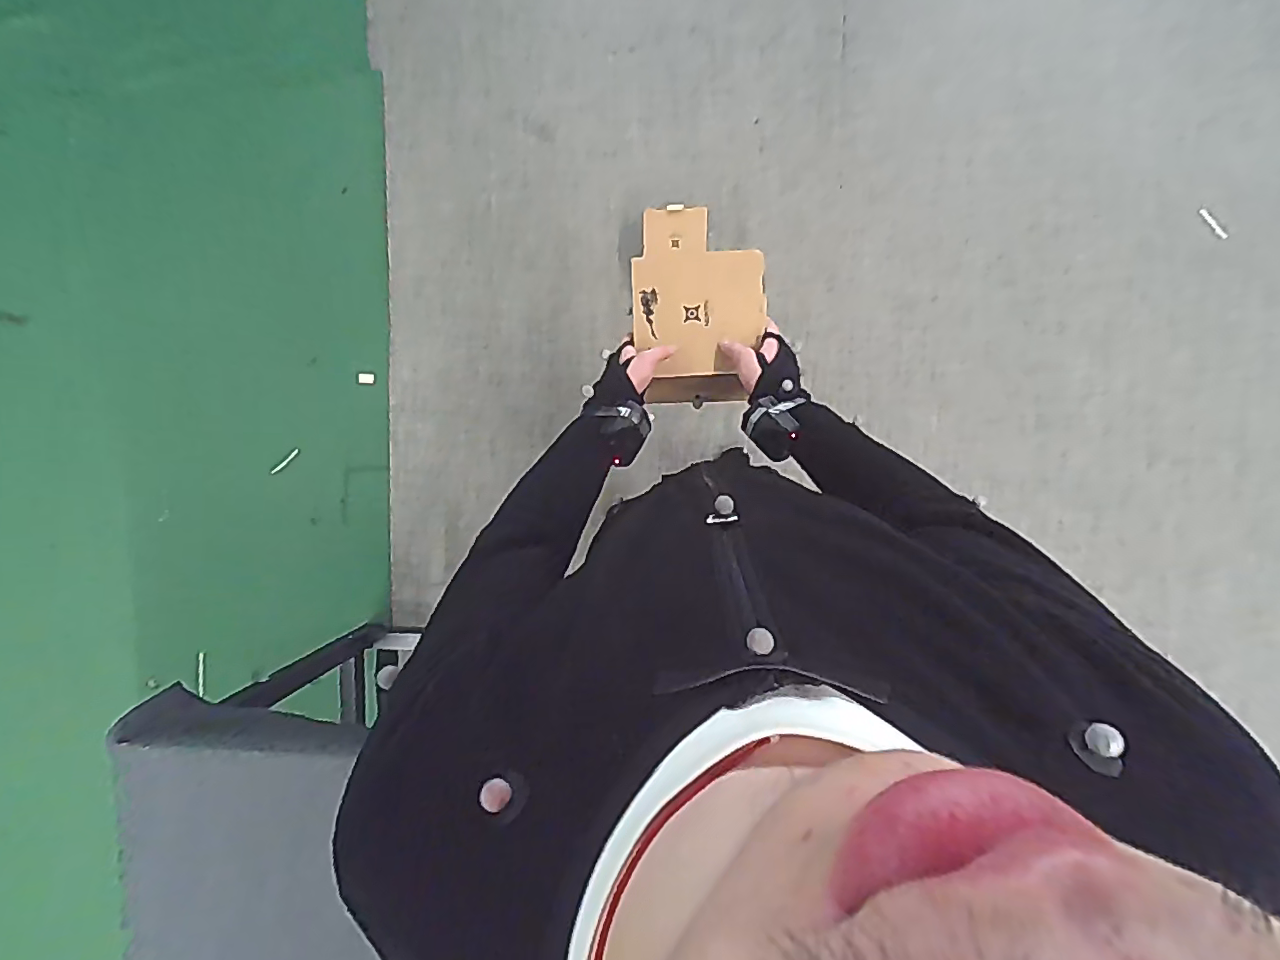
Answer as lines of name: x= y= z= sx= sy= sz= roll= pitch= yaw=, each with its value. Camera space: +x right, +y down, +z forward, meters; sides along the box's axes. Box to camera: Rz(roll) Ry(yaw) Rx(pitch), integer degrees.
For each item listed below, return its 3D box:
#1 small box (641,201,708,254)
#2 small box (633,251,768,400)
small box: x=0.095 y=-0.624 z=1.453 sx=0.168 sy=0.176 sz=0.179 roll=3 pitch=93 yaw=7
small box: x=0.081 y=-0.215 z=0.788 sx=0.179 sy=0.176 sz=0.168 roll=-2 pitch=87 yaw=2
